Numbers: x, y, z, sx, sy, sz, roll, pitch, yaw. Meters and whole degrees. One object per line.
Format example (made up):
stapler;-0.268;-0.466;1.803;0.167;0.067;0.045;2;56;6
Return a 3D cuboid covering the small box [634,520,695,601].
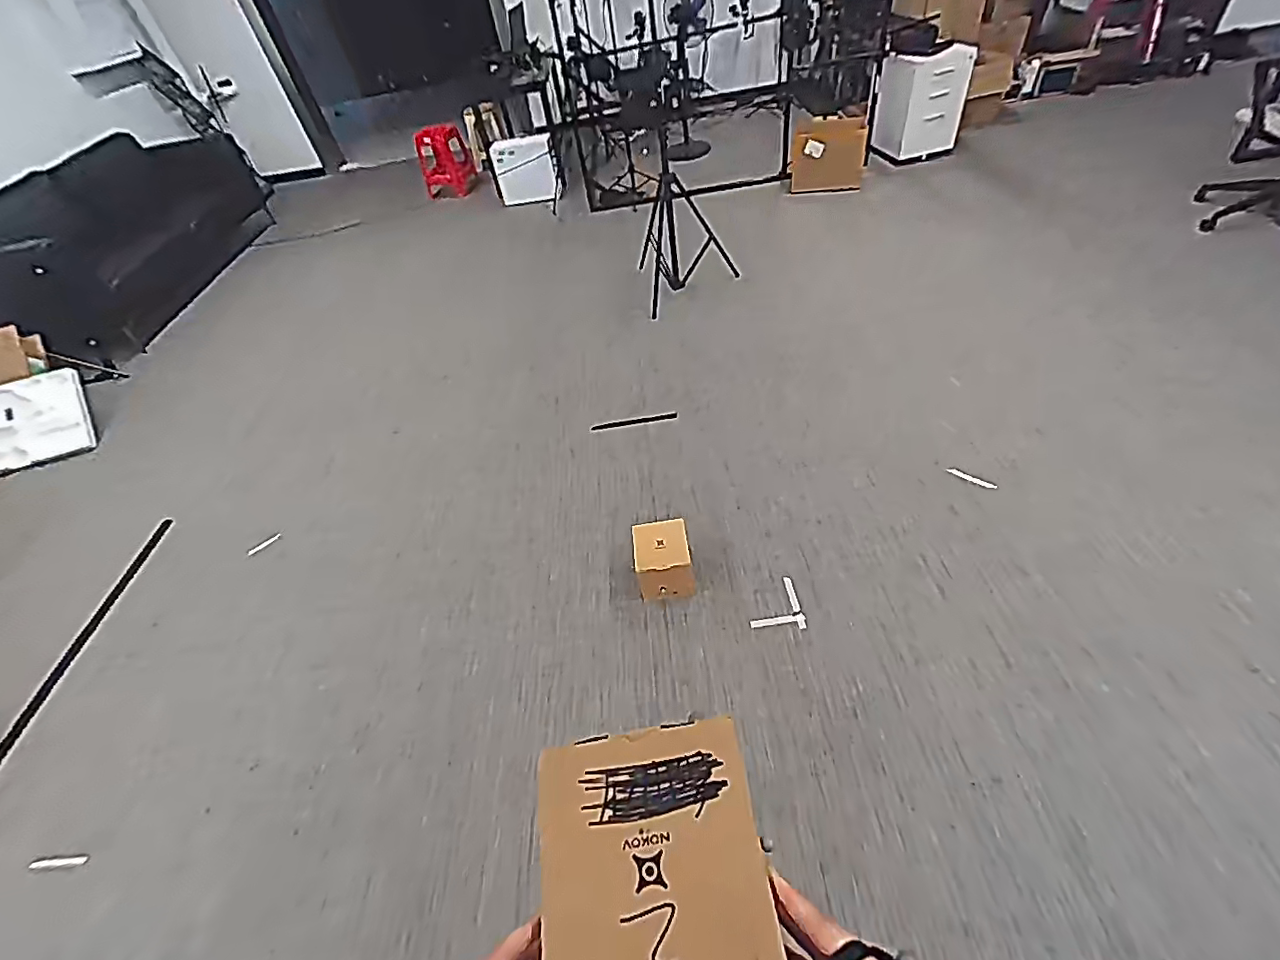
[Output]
small box;0.076;0.254;1.688;0.168;0.176;0.179;-9;46;2
